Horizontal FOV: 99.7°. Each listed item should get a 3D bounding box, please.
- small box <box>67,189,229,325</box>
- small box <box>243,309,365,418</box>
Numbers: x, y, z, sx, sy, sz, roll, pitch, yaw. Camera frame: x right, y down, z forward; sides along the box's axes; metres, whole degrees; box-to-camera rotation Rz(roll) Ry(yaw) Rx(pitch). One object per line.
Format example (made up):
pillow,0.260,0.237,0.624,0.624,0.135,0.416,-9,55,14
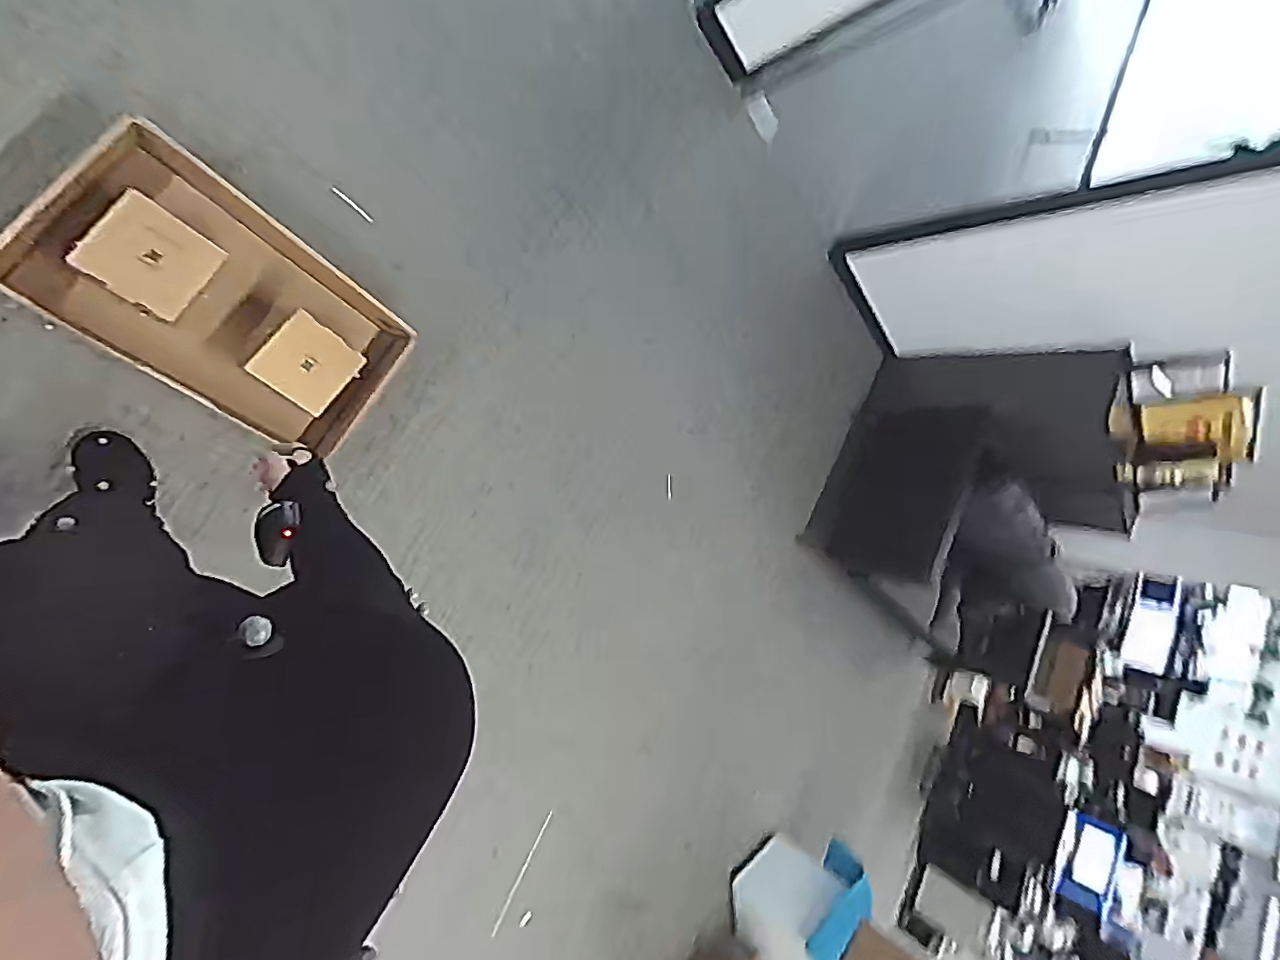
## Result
small box,-0.952,-0.423,1.061,0.168,0.176,0.179,41,71,-39
small box,-0.773,-0.262,1.242,0.168,0.176,0.179,44,69,-36
